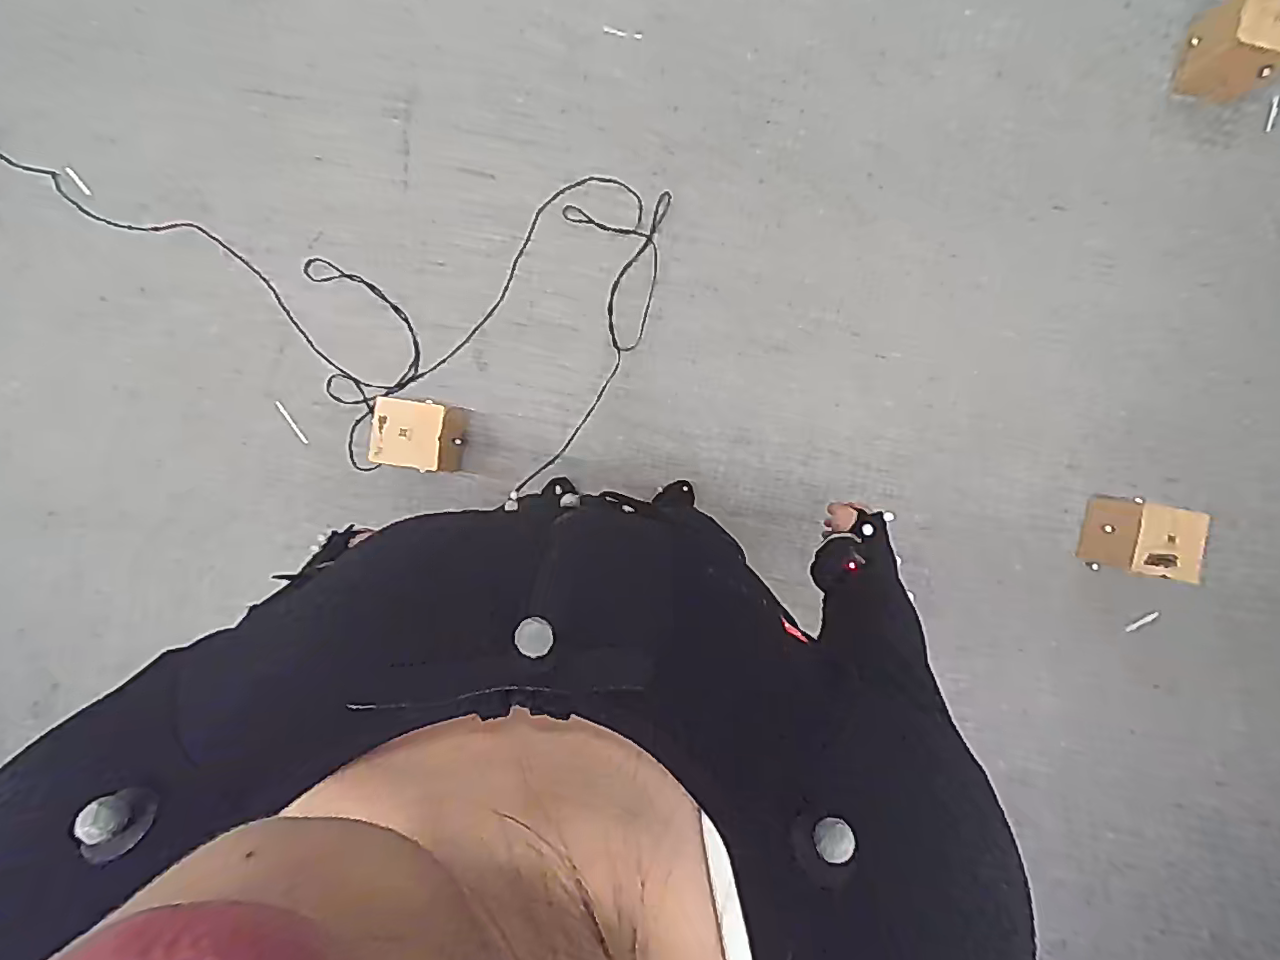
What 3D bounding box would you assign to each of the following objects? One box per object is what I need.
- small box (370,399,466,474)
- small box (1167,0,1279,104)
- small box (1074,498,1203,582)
[{"bbox_3d":[-0.570,-0.111,1.411,0.179,0.176,0.168,8,91,-1],"label":"small box"},{"bbox_3d":[1.516,-1.099,1.368,0.179,0.176,0.168,16,91,0],"label":"small box"},{"bbox_3d":[1.288,0.150,1.411,0.168,0.176,0.179,12,91,0],"label":"small box"}]
